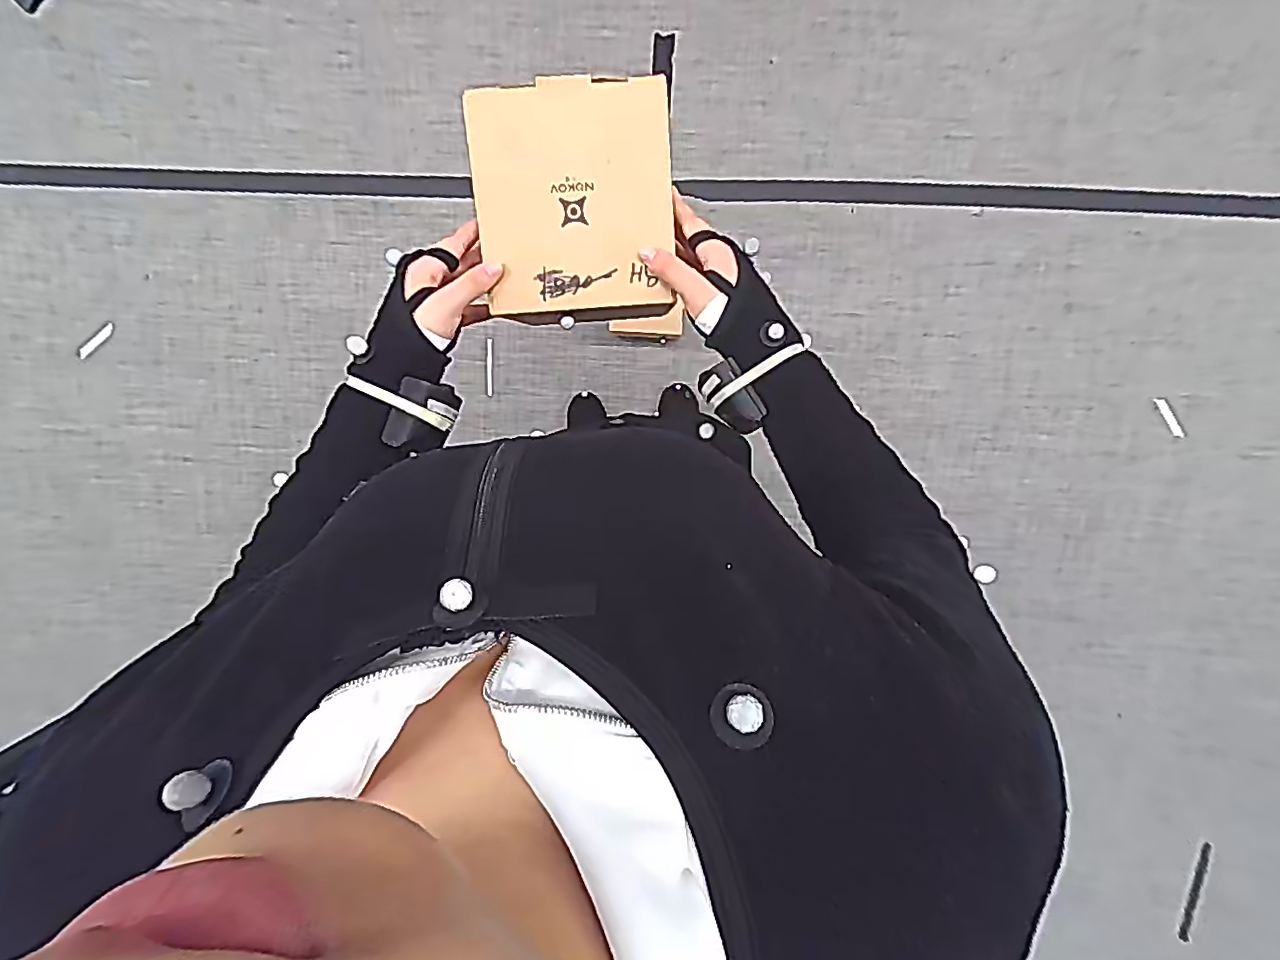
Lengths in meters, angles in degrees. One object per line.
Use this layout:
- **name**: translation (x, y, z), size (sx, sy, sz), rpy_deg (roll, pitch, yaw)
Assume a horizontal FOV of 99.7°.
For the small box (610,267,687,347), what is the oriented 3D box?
- **small box**: translation (0.021, -0.423, 1.340), size (0.179, 0.176, 0.168), rpy_deg (3, 100, 2)
